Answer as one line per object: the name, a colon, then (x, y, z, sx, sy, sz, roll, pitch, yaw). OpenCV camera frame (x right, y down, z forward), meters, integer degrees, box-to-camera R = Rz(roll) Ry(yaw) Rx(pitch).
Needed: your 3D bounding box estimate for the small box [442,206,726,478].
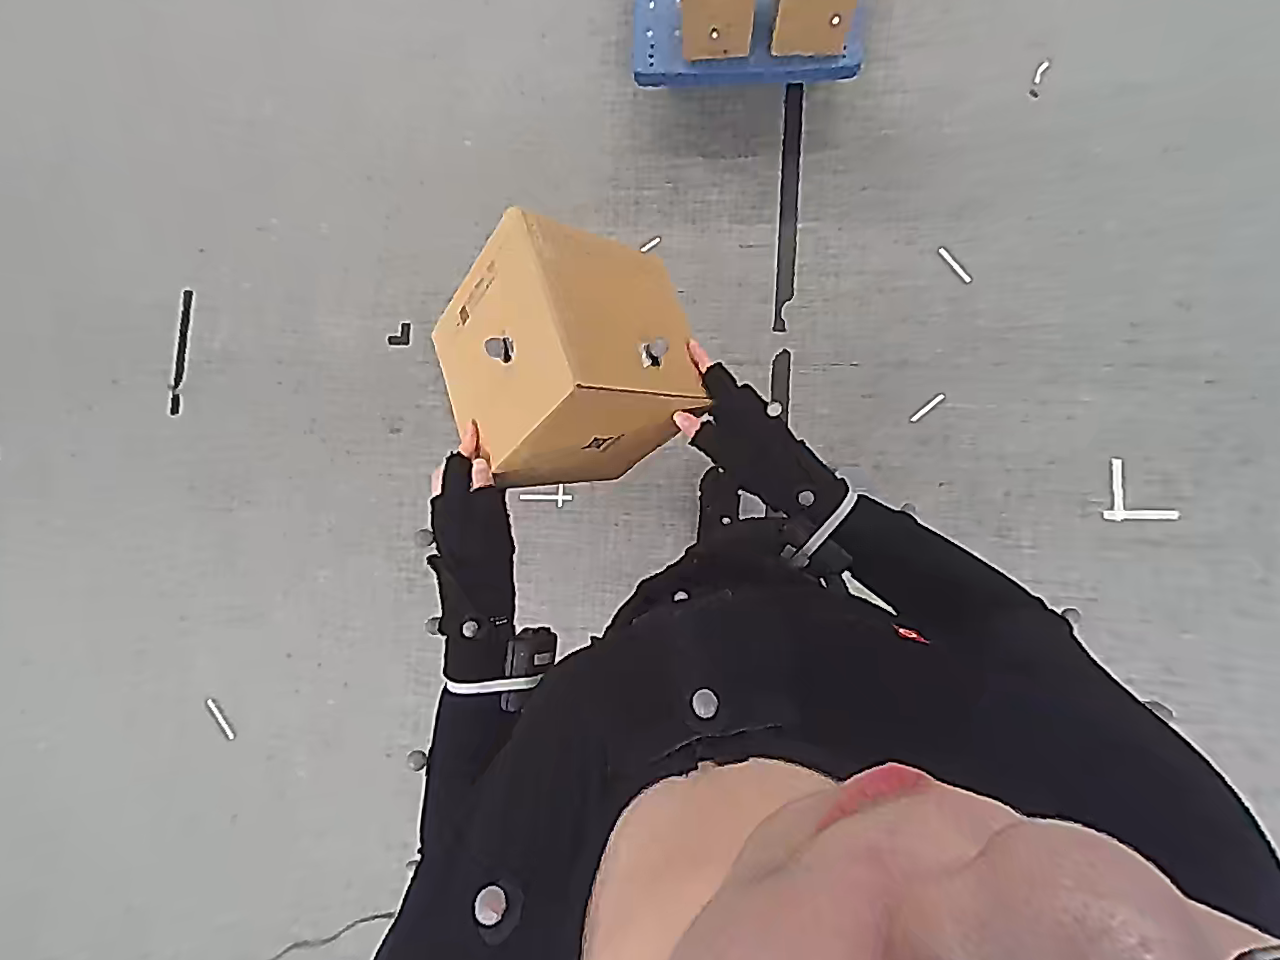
small box: (-0.058, -0.116, 0.500, 0.168, 0.179, 0.176, -34, 70, 40)

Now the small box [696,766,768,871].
small box: (0.228, 0.850, 1.374, 0.168, 0.176, 0.179, -3, 87, 6)

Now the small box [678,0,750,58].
small box: (0.177, -1.153, 1.294, 0.168, 0.176, 0.179, 1, 86, 5)
